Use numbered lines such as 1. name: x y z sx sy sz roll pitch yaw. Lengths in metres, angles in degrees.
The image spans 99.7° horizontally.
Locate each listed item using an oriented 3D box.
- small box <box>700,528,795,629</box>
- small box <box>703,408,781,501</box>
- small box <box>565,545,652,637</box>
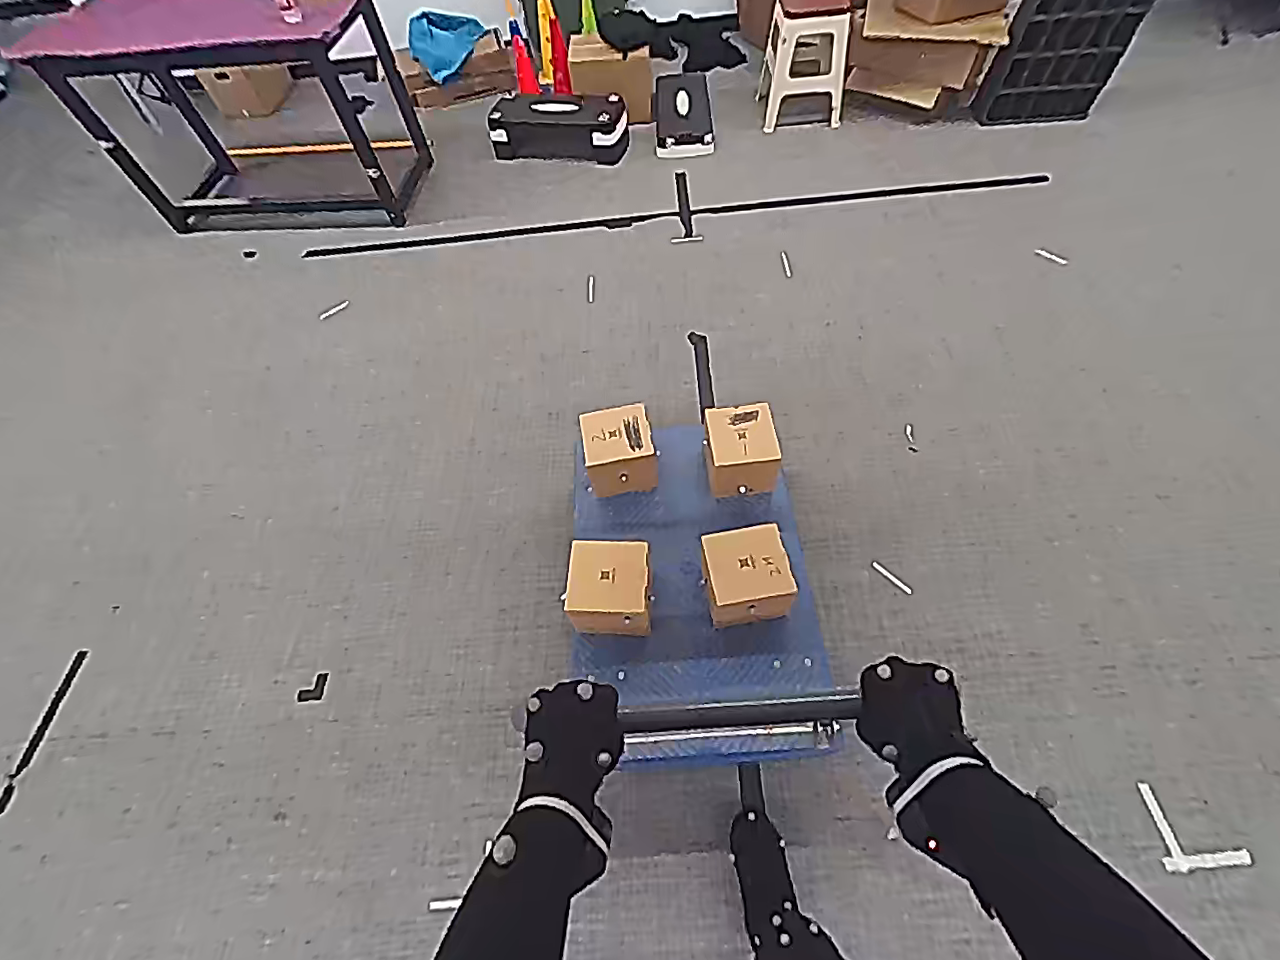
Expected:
1. small box: 0.239 0.232 1.243 0.179 0.176 0.168 -10 59 0
2. small box: 0.260 -0.064 1.420 0.168 0.176 0.179 -6 60 1
3. small box: -0.066 0.261 1.253 0.179 0.176 0.168 1 58 4
